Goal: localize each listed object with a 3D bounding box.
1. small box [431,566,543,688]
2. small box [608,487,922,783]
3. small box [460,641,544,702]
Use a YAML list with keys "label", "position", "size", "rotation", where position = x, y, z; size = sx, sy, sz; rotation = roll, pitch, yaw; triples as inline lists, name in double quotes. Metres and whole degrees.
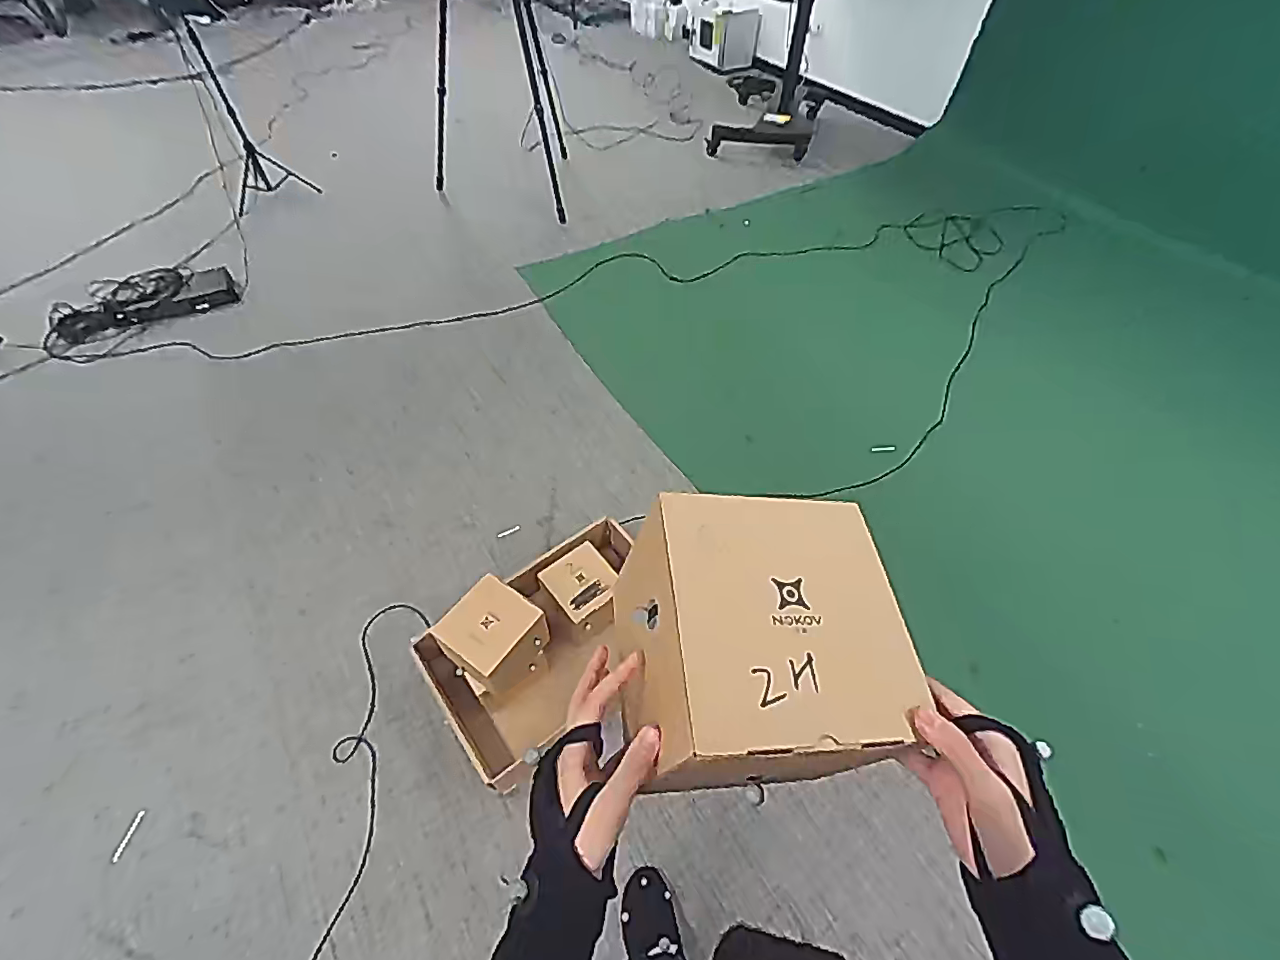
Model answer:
- label: "small box"
  position: [-0.333, 0.333, 1.216]
  size: [0.168, 0.176, 0.179]
  rotation: [31, 58, 18]
- label: "small box"
  position: [0.072, 0.126, 0.427]
  size: [0.168, 0.176, 0.179]
  rotation: [3, 56, -14]
- label: "small box"
  position: [-0.357, 0.422, 1.351]
  size: [0.179, 0.176, 0.168]
  rotation: [-31, 62, -24]
